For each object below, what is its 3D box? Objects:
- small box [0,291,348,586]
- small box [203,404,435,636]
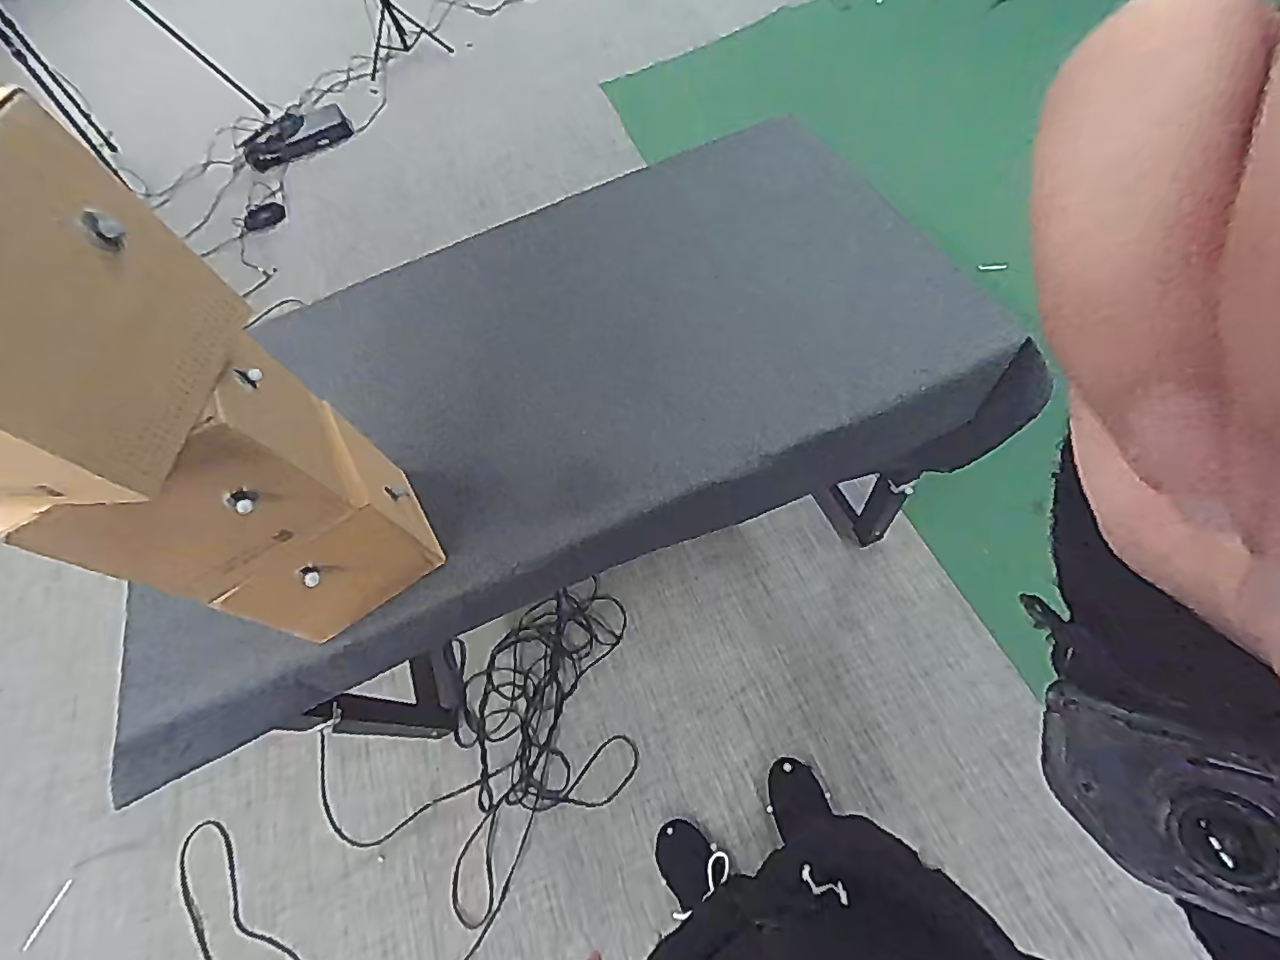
[{"bbox_3d":[-0.398,-0.024,0.486,0.168,0.176,0.179,-31,60,-7],"label":"small box"},{"bbox_3d":[-0.364,0.052,0.625,0.179,0.176,0.168,-34,61,-8],"label":"small box"}]
